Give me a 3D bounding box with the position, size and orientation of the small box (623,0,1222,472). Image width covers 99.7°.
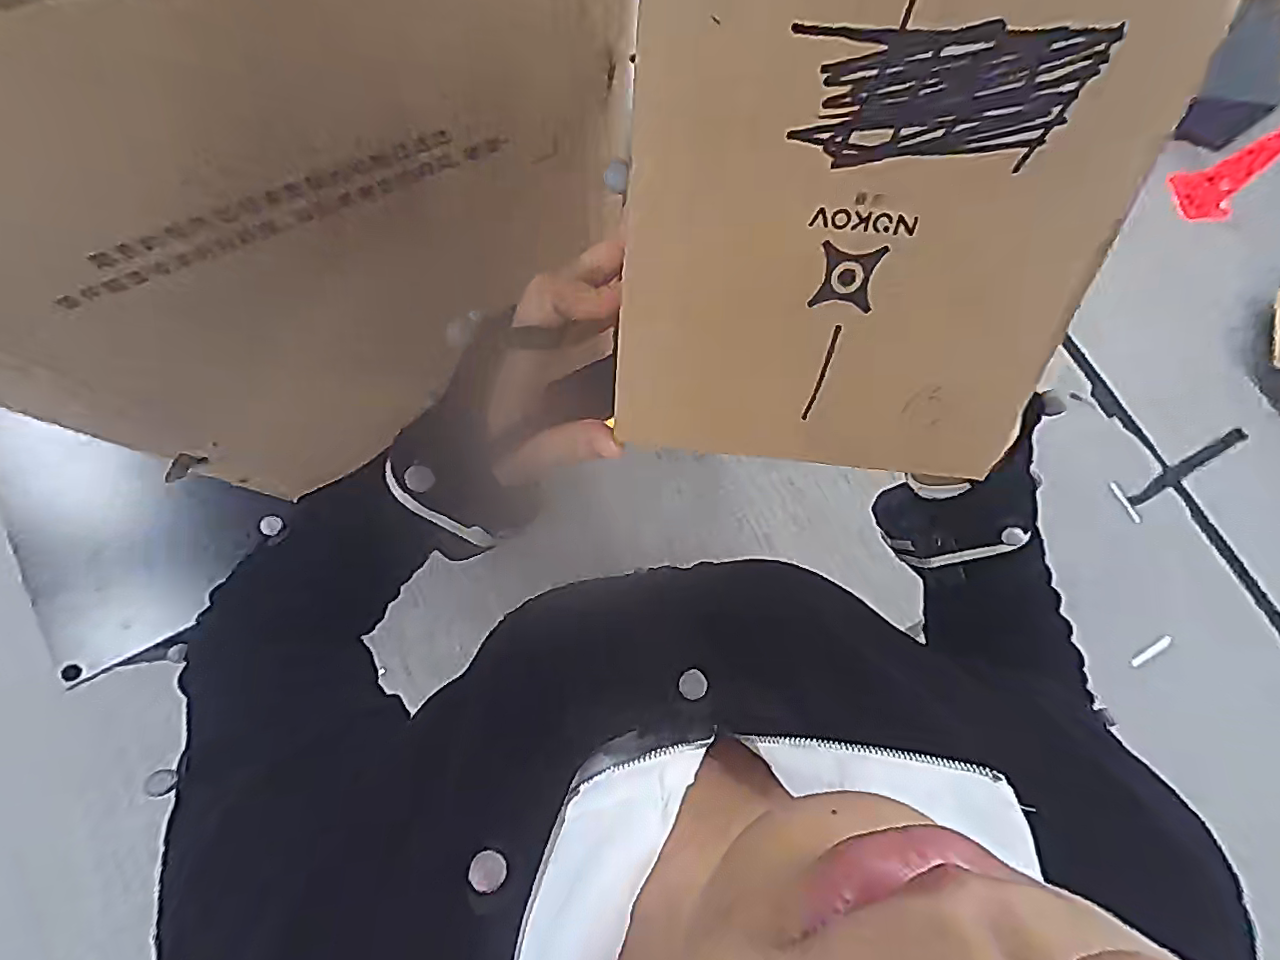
[{"bbox_3d":[0.086,-0.128,0.264,0.168,0.179,0.176,7,33,1],"label":"small box"}]
